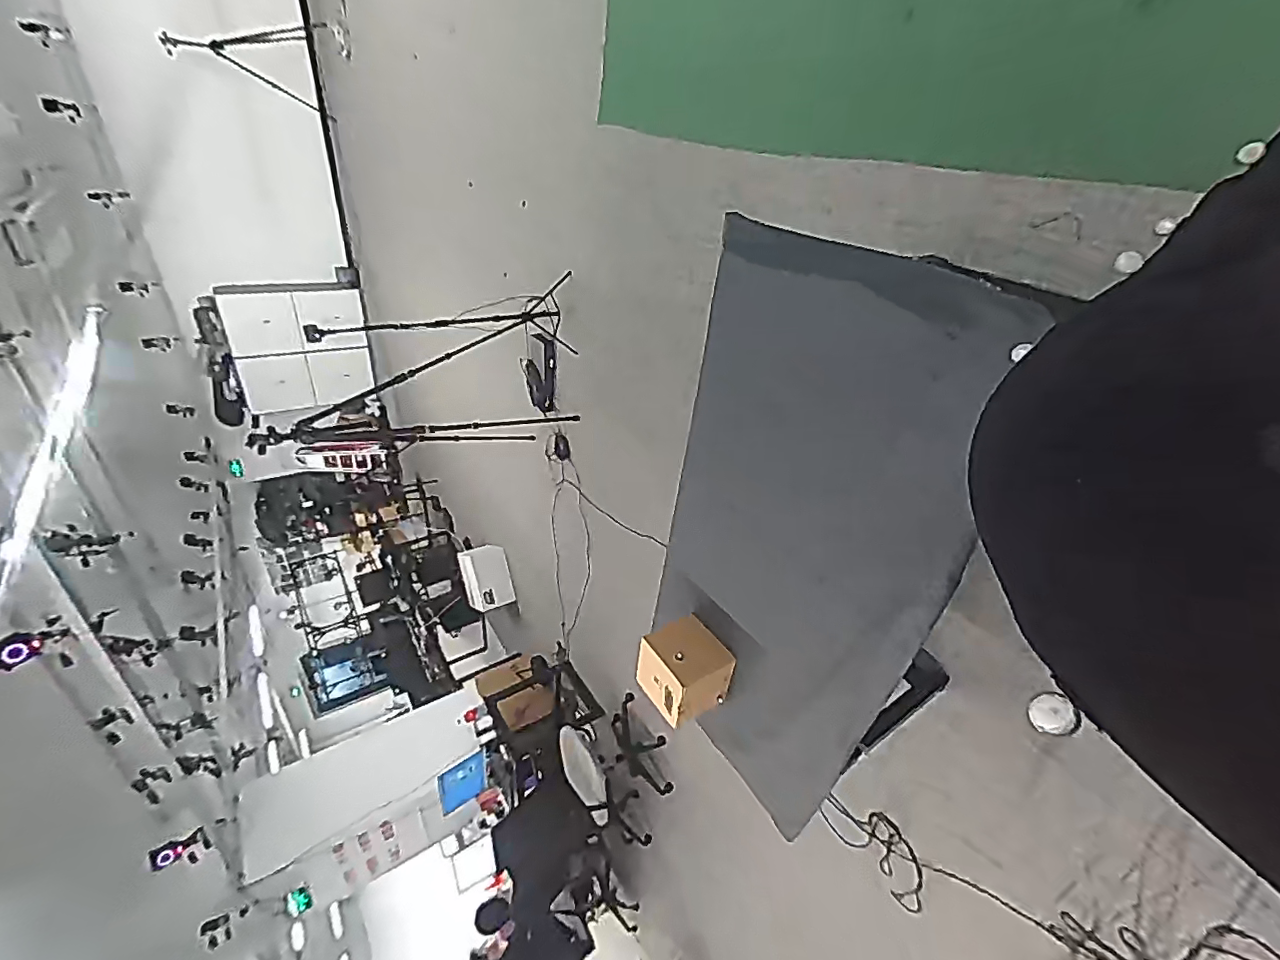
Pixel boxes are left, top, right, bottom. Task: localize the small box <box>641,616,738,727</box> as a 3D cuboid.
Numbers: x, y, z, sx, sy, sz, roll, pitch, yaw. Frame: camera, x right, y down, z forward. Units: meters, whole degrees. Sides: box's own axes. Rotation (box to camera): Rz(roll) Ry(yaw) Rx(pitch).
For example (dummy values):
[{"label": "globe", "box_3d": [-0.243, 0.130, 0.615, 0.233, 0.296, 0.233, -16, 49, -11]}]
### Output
[{"label": "small box", "box_3d": [0.126, 0.479, 1.380, 0.179, 0.176, 0.168, 41, 135, 43]}]
